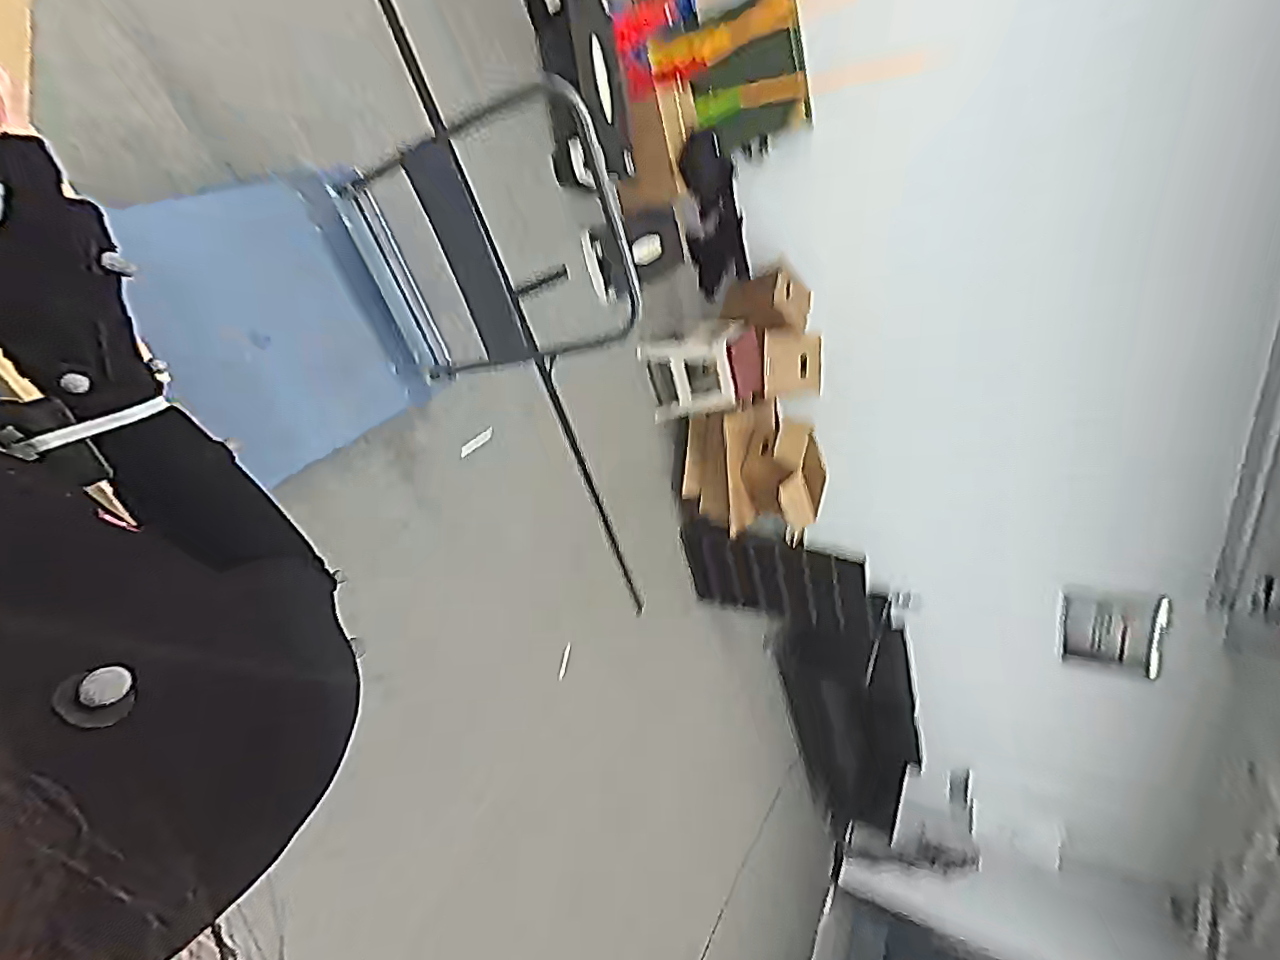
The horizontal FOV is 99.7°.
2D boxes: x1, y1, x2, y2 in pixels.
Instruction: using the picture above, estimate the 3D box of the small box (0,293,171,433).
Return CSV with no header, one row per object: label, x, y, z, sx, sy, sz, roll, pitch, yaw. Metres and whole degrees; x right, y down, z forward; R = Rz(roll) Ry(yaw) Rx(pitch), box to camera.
small box,-0.940,-0.186,0.887,0.179,0.176,0.168,-49,129,-43
